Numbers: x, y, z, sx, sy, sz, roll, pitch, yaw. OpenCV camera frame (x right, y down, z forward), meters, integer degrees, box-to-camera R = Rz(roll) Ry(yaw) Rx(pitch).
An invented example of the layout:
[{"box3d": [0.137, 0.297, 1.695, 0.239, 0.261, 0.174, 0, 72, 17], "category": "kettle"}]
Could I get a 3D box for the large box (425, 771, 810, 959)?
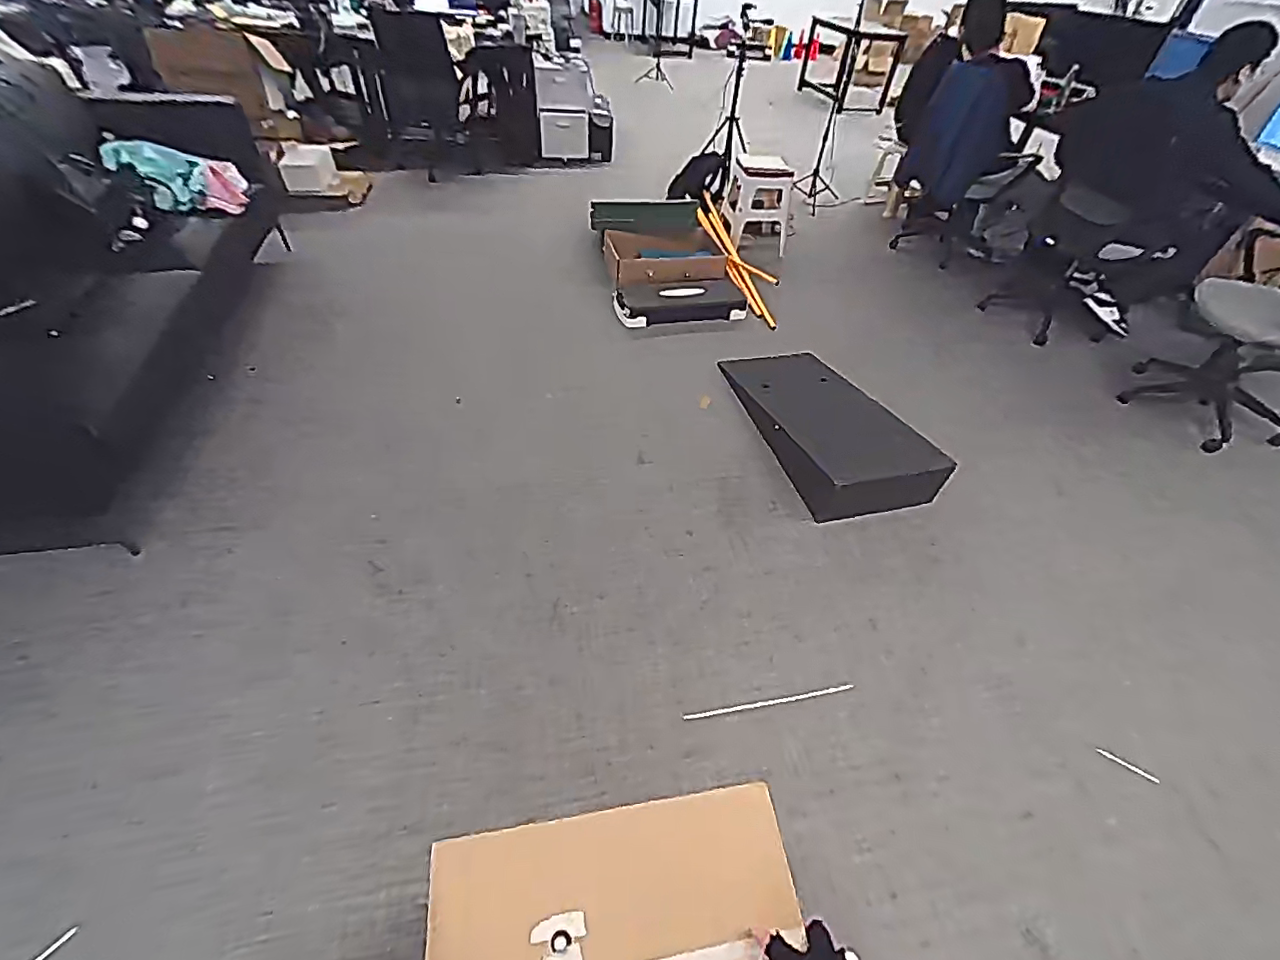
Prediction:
[{"box3d": [-0.029, 0.587, 0.684, 0.408, 0.320, 0.320, -5, 57, -9], "category": "large box"}]
